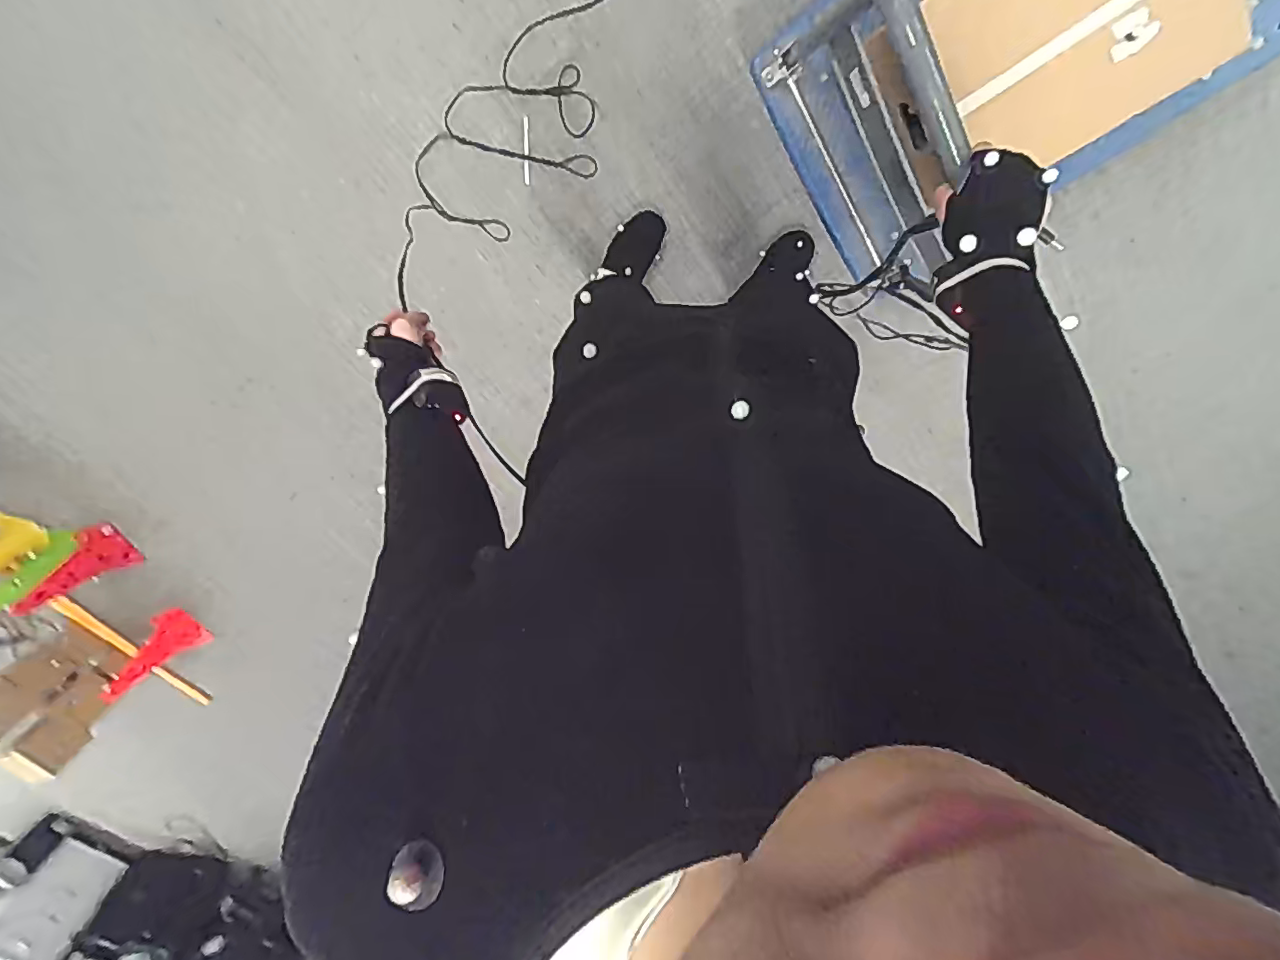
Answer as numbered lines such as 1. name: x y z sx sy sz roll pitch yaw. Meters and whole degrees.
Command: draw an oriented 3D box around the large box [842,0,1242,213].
1. large box: 0.622 -0.718 0.908 0.408 0.320 0.320 -29 115 19
